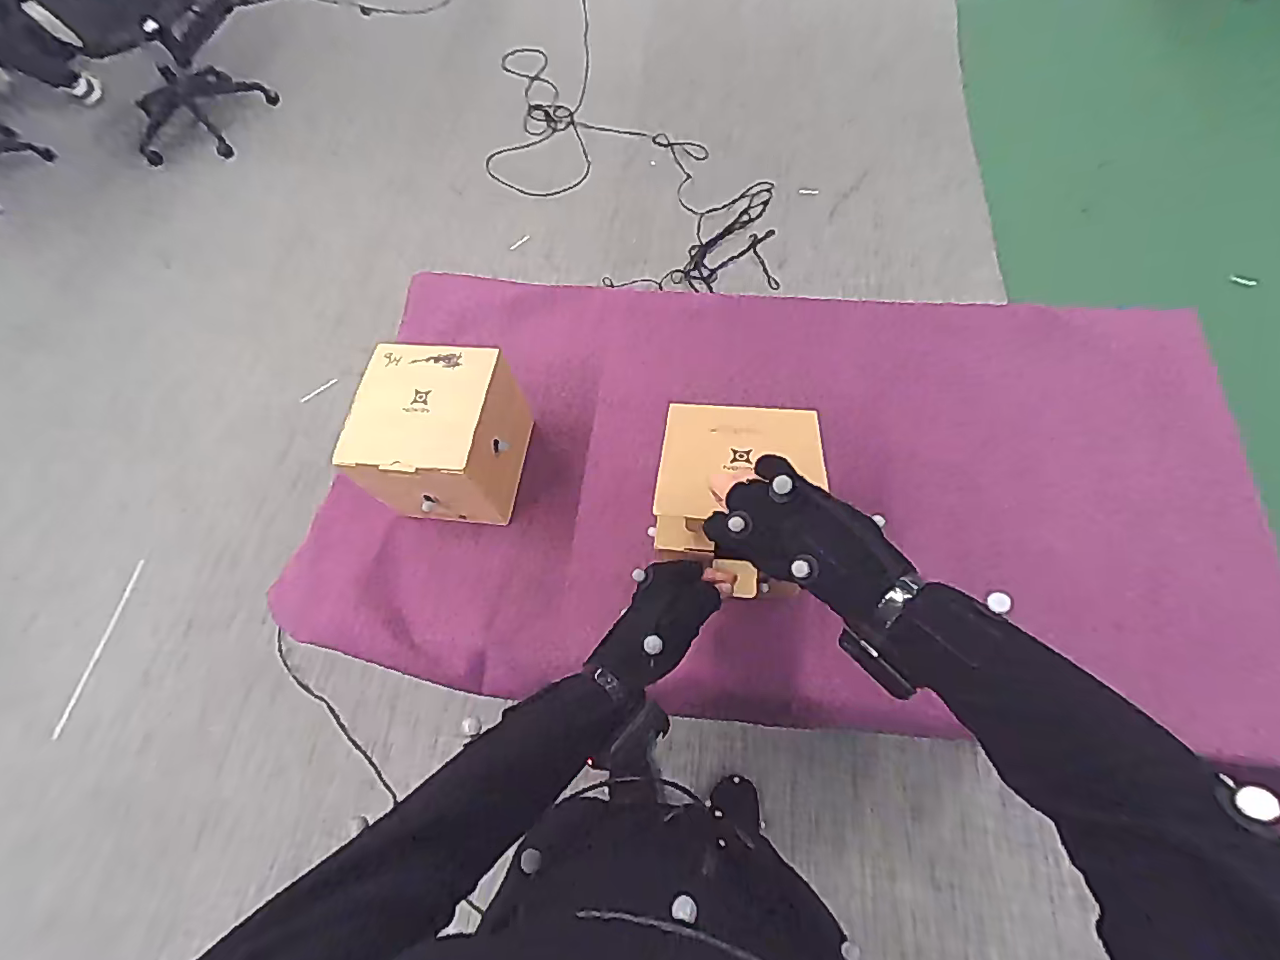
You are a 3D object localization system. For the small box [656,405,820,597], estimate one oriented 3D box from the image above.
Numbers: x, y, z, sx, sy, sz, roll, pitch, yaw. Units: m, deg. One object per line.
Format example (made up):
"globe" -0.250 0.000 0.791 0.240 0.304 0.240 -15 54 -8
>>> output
"small box" 0.114 0.032 0.644 0.168 0.176 0.179 4 65 7

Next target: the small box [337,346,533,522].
"small box" -0.254 -0.054 0.720 0.168 0.176 0.179 4 65 7
